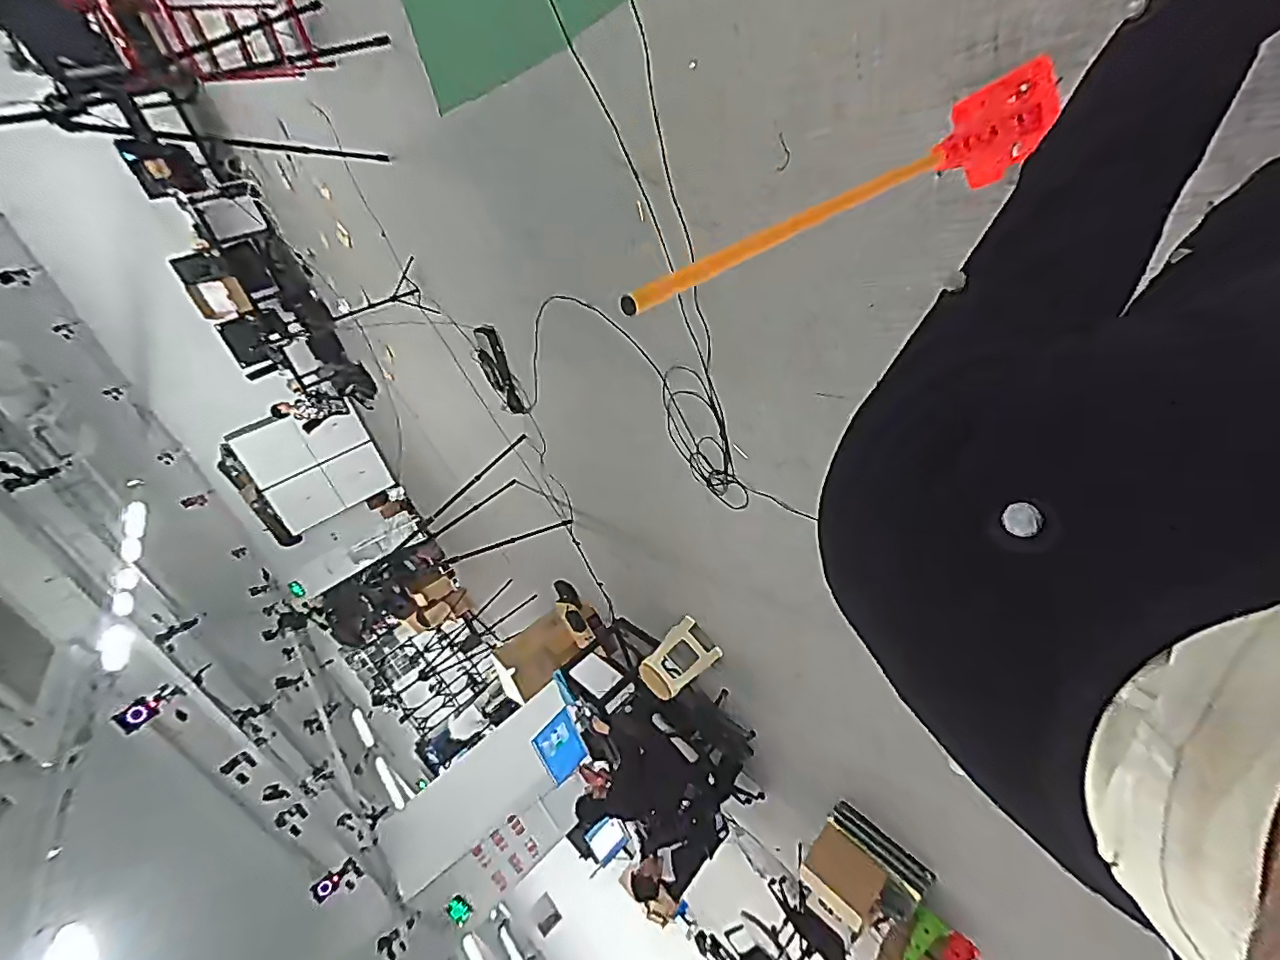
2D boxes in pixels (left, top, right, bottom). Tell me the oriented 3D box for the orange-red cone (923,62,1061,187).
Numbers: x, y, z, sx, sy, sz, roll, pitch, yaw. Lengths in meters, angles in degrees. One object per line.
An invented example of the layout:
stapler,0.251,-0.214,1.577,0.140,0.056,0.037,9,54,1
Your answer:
orange-red cone,0.703,-0.713,1.146,0.199,0.360,0.198,2,121,57
